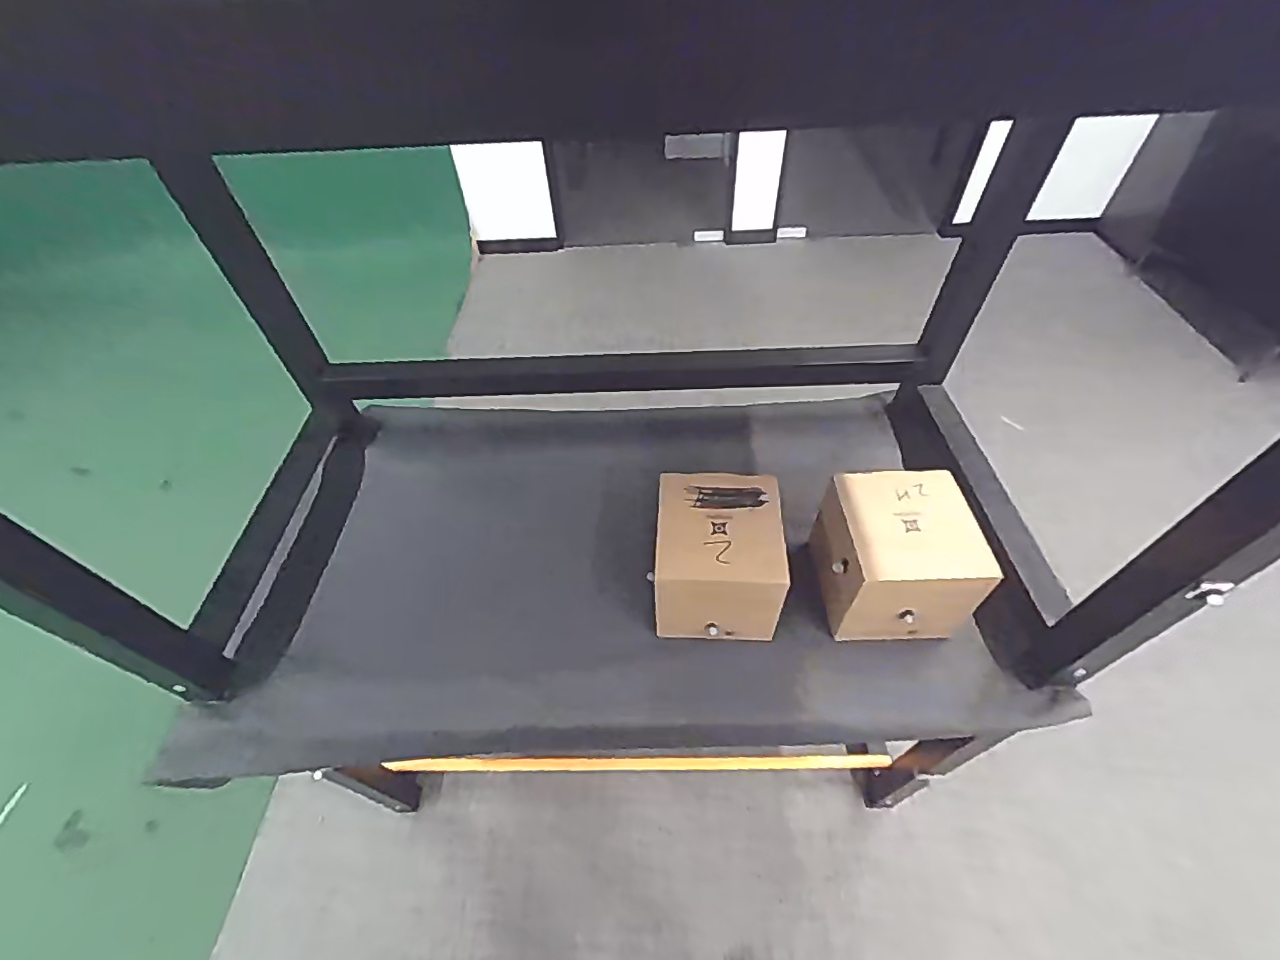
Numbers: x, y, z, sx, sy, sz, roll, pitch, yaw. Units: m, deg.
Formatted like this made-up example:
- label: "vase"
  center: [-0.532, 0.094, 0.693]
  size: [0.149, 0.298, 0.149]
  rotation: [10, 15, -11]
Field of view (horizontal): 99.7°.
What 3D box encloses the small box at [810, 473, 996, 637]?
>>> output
- label: "small box"
  center: [0.352, 0.112, 0.765]
  size: [0.168, 0.176, 0.179]
  rotation: [-2, 48, 1]
